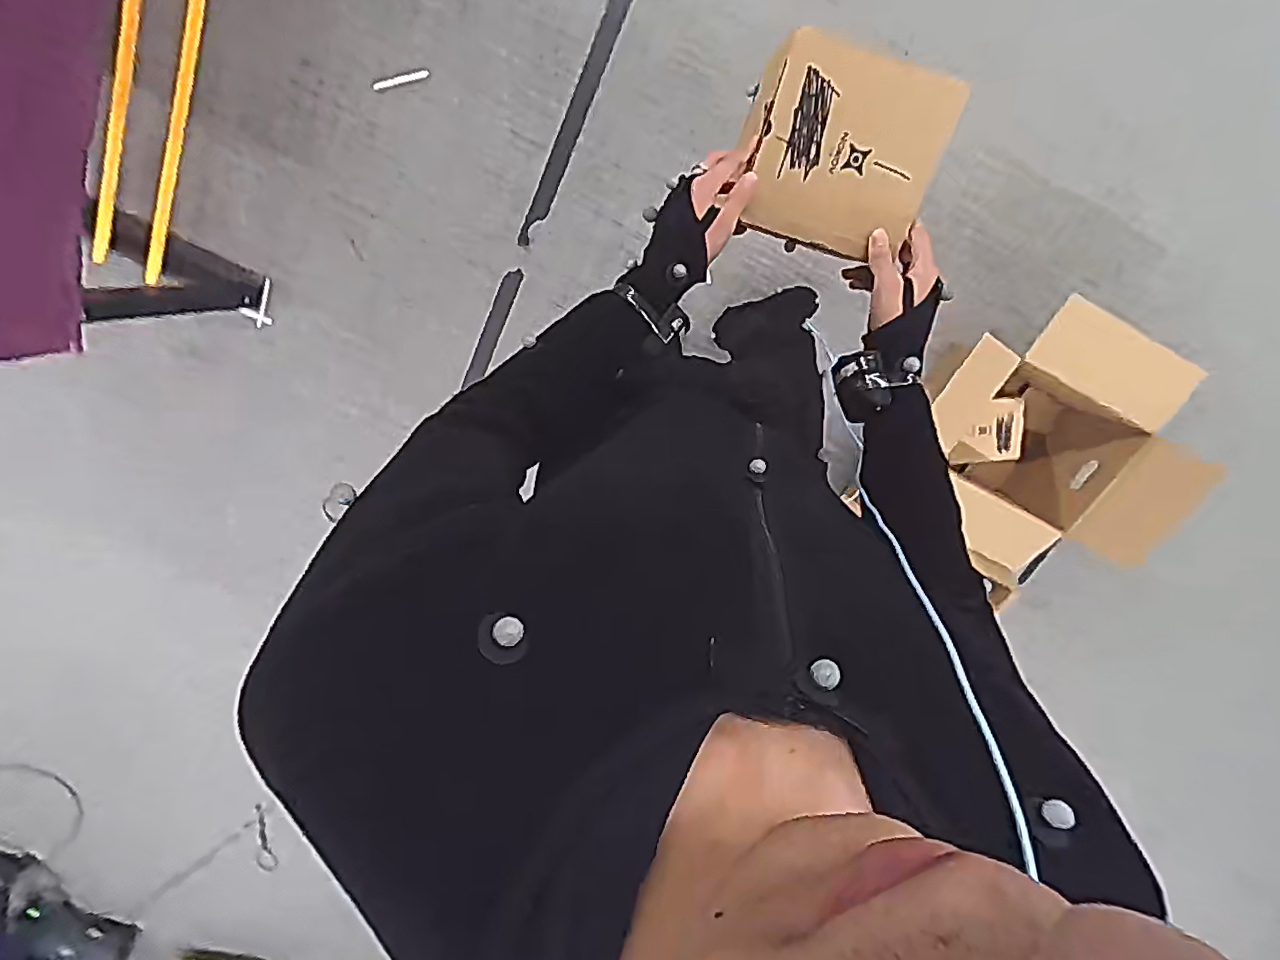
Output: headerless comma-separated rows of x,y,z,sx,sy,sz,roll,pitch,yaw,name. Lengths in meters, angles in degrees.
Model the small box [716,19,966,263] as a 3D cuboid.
0.193,-0.347,0.586,0.179,0.176,0.168,14,115,-7,small box
